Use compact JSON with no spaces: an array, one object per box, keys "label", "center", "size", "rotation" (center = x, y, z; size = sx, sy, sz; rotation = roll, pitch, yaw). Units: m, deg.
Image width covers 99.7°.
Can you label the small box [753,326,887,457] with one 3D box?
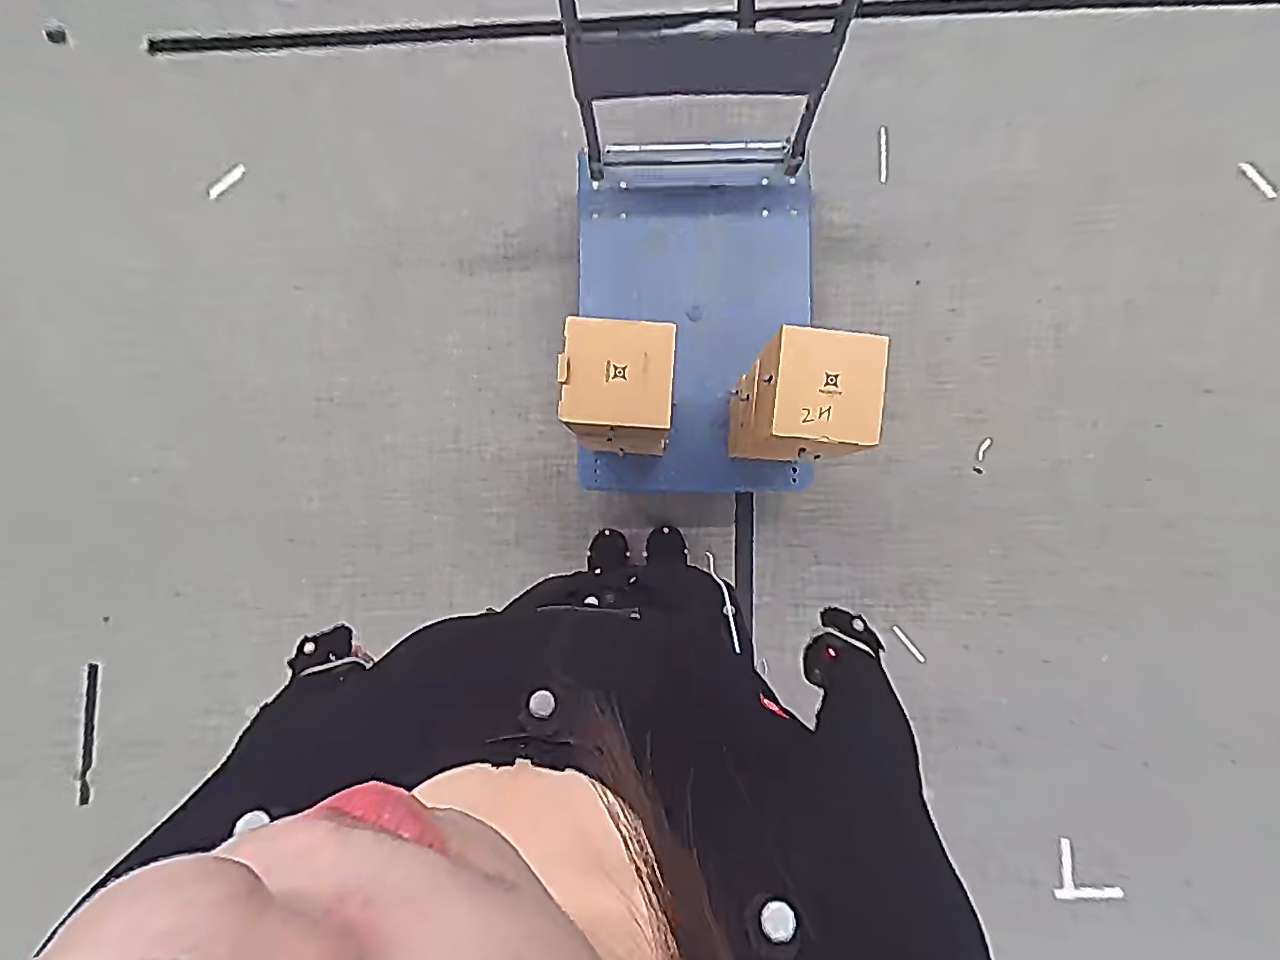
[{"label":"small box","center":[0.293,-0.140,0.911],"size":[0.168,0.176,0.179],"rotation":[7,88,2]}]

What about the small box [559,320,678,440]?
[{"label":"small box","center":[-0.031,-0.162,0.921],"size":[0.179,0.176,0.168],"rotation":[4,89,1]}]

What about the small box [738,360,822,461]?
[{"label":"small box","center":[0.296,-0.131,1.075],"size":[0.179,0.176,0.168],"rotation":[6,88,1]}]

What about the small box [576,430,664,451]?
[{"label":"small box","center":[-0.033,-0.158,1.085],"size":[0.168,0.176,0.179],"rotation":[2,87,2]}]
